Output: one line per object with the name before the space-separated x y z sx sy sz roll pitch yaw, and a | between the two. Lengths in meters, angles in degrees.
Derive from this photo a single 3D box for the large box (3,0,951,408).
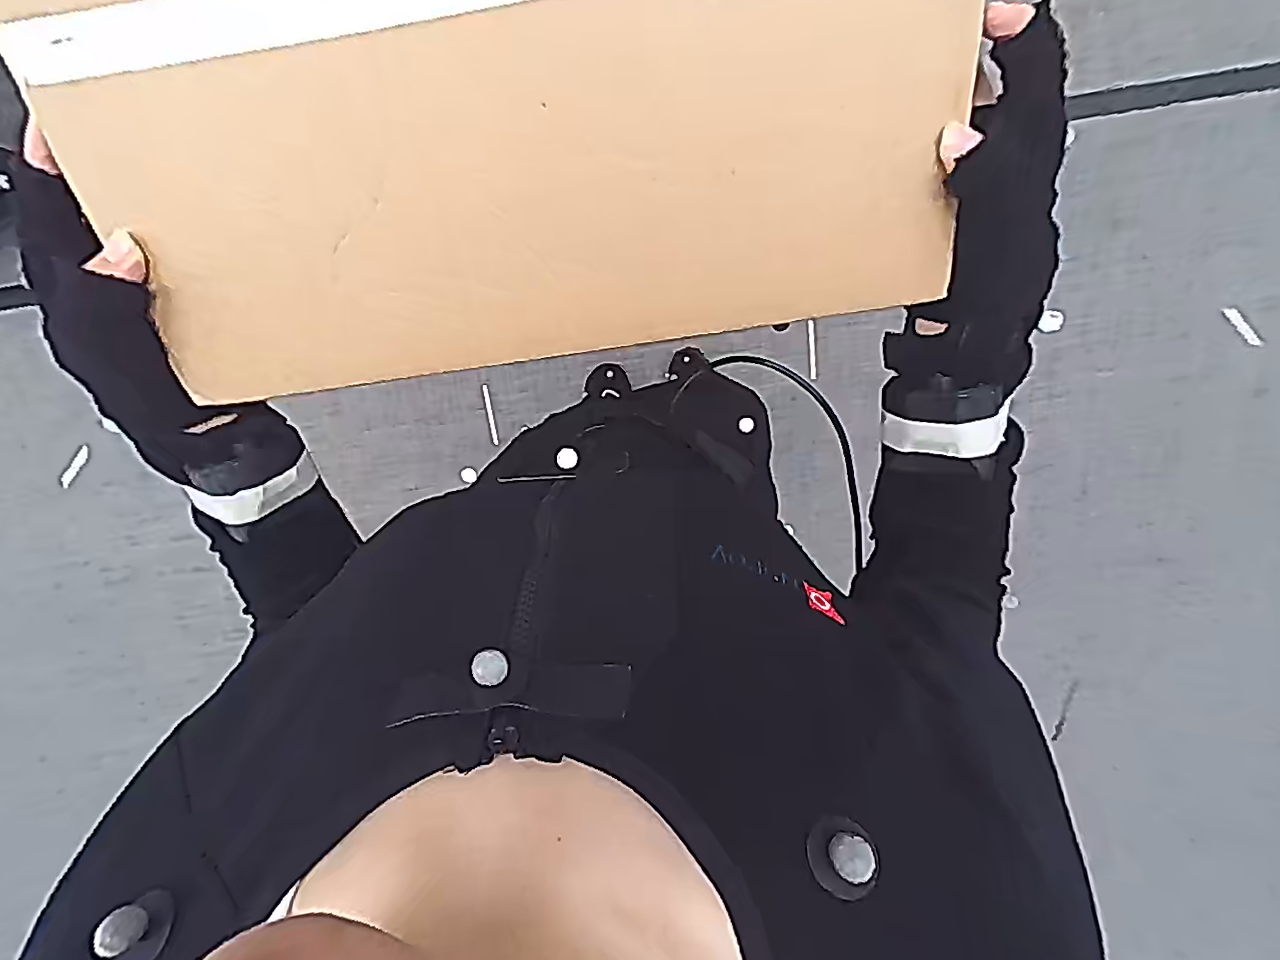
large box | -0.067 -0.273 0.362 0.408 0.320 0.320 -8 116 3
